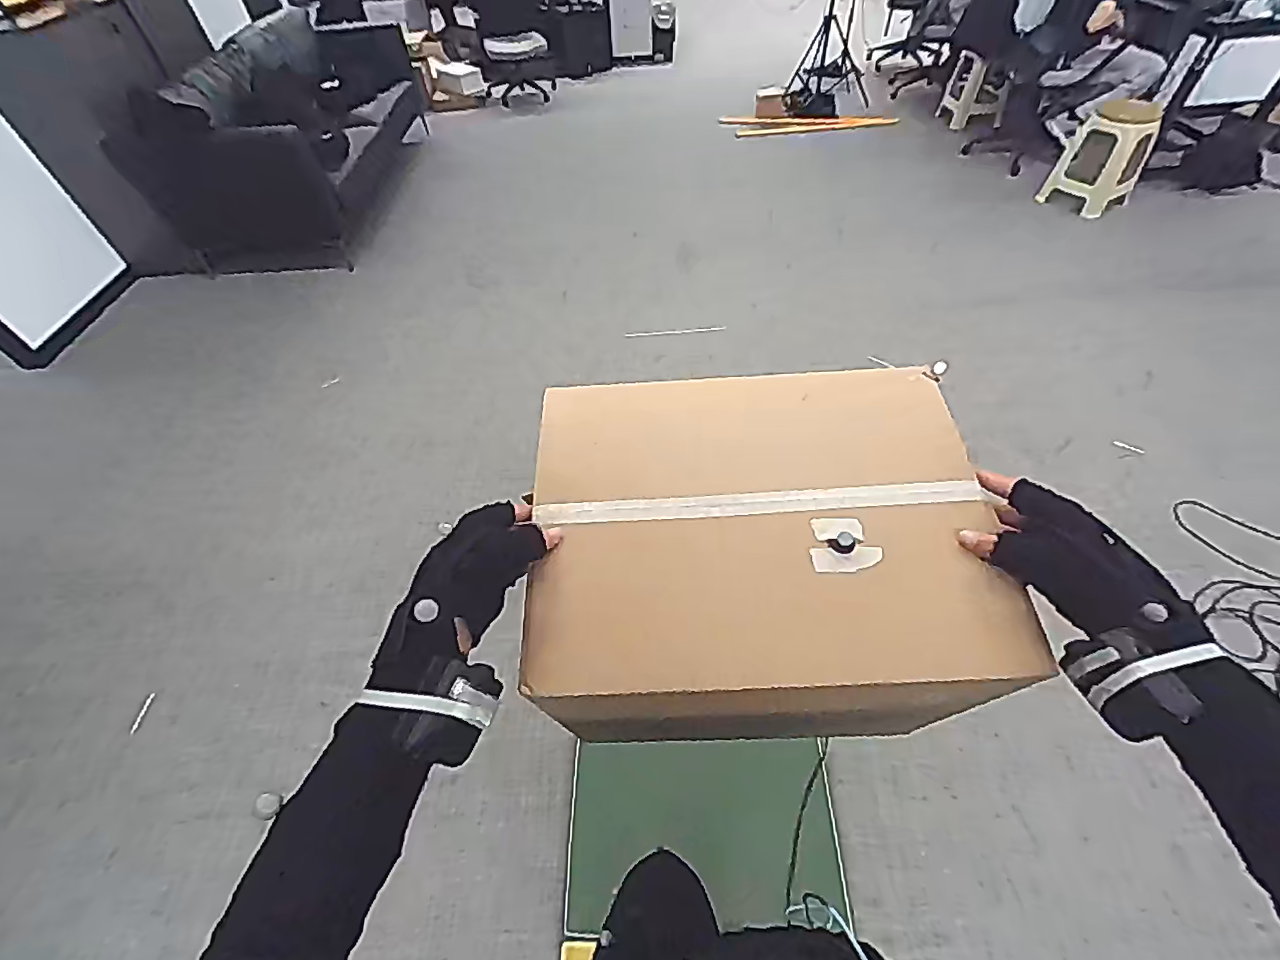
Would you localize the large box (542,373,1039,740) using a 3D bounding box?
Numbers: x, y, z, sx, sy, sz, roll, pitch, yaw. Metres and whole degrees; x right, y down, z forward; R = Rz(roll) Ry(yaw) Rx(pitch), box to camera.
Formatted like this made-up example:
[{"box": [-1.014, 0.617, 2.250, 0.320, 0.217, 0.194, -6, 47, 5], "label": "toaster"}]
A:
[{"box": [0.117, 0.105, 0.630, 0.408, 0.320, 0.320, -3, 58, 1], "label": "large box"}]
